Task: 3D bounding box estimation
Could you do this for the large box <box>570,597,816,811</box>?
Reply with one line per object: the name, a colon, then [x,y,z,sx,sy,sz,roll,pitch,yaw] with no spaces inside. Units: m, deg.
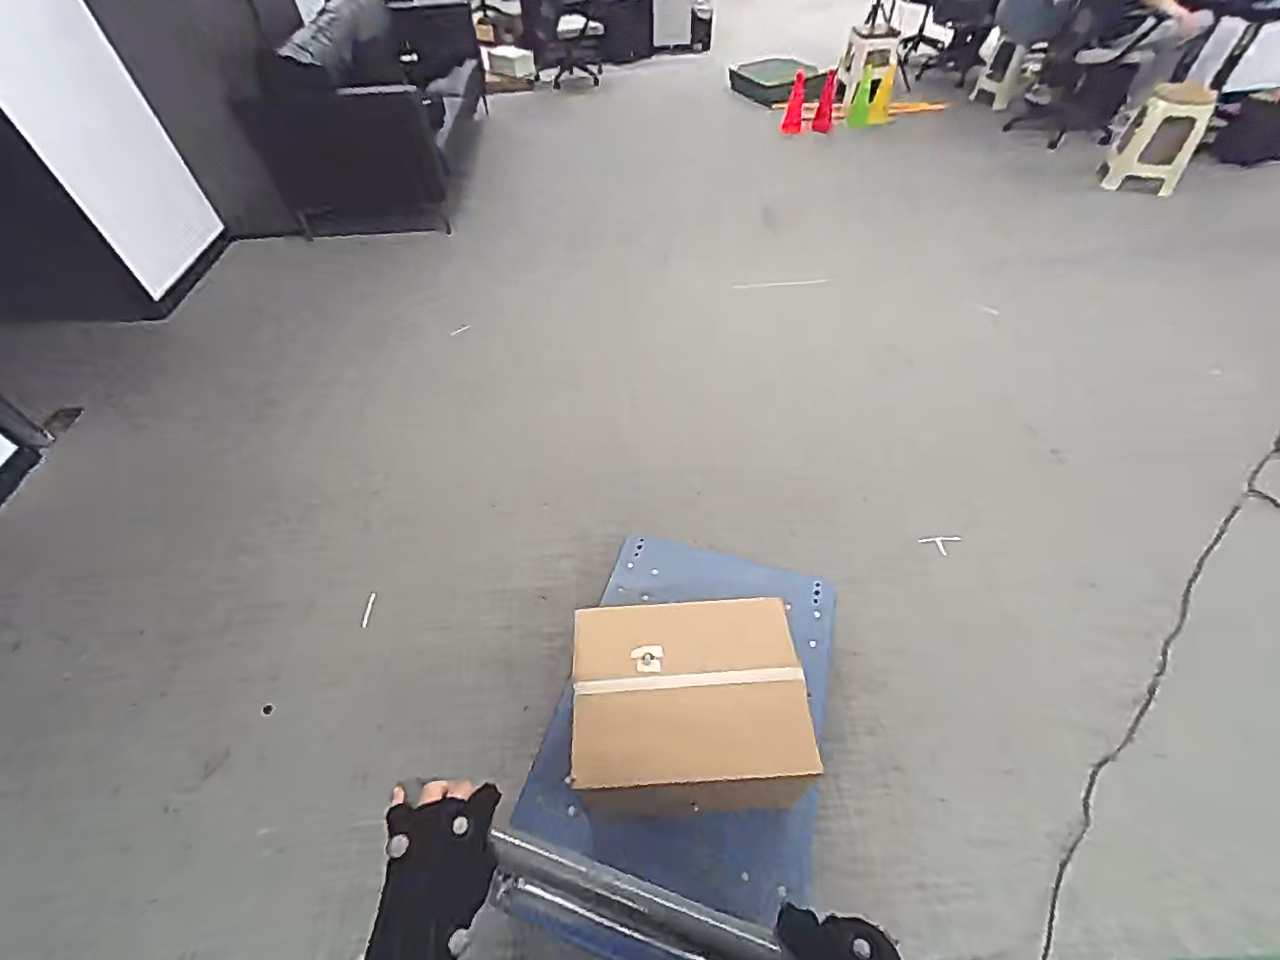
large box: [0.087,0.451,1.071,0.408,0.320,0.320,-3,50,1]
